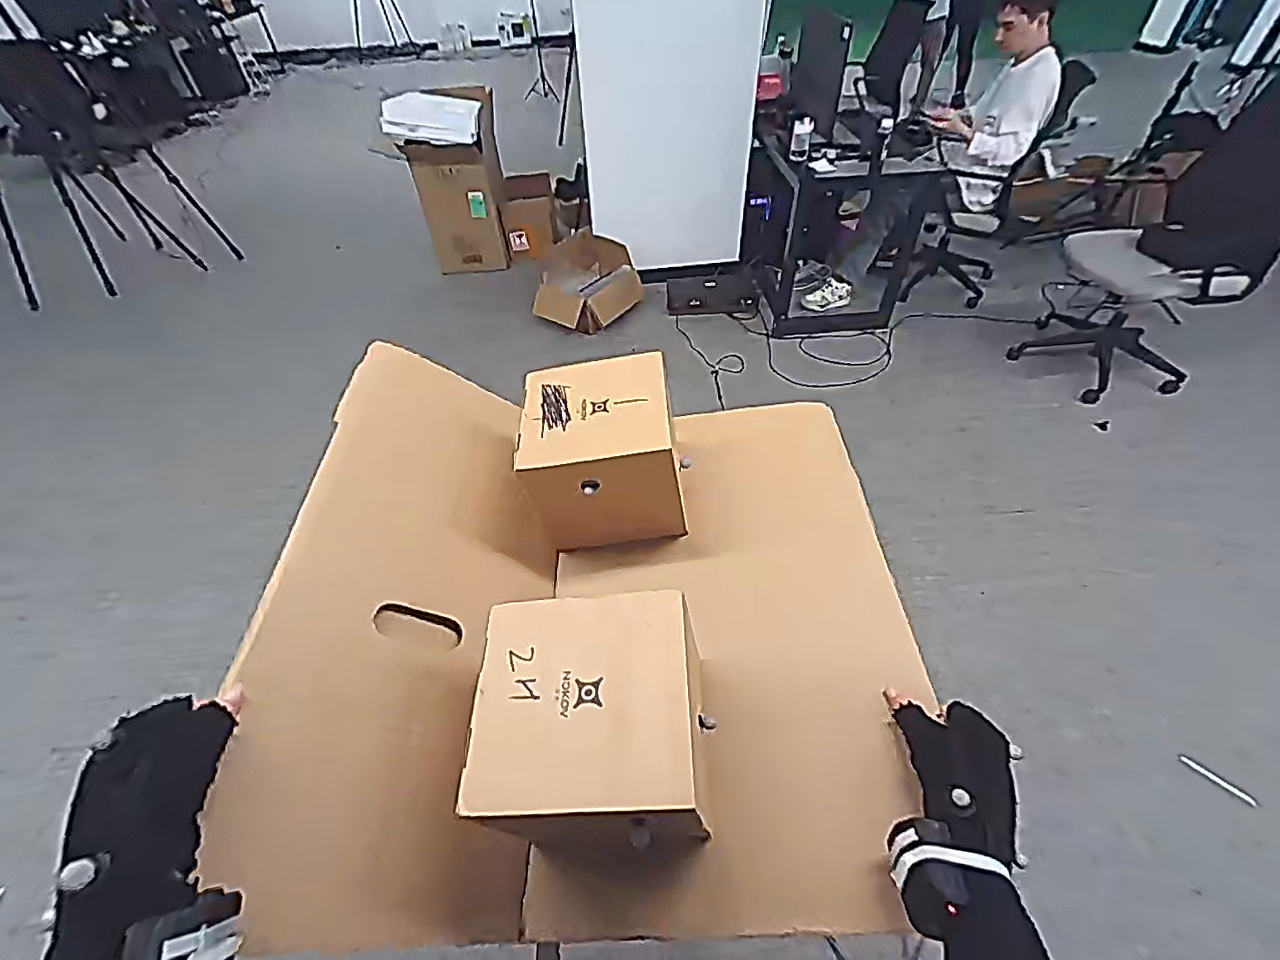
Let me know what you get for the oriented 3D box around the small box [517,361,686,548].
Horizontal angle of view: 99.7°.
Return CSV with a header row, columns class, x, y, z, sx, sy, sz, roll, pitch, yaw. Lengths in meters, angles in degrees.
class,x,y,z,sx,sy,sz,roll,pitch,yaw
small box,-0.041,-0.026,0.701,0.179,0.176,0.168,-8,51,6
